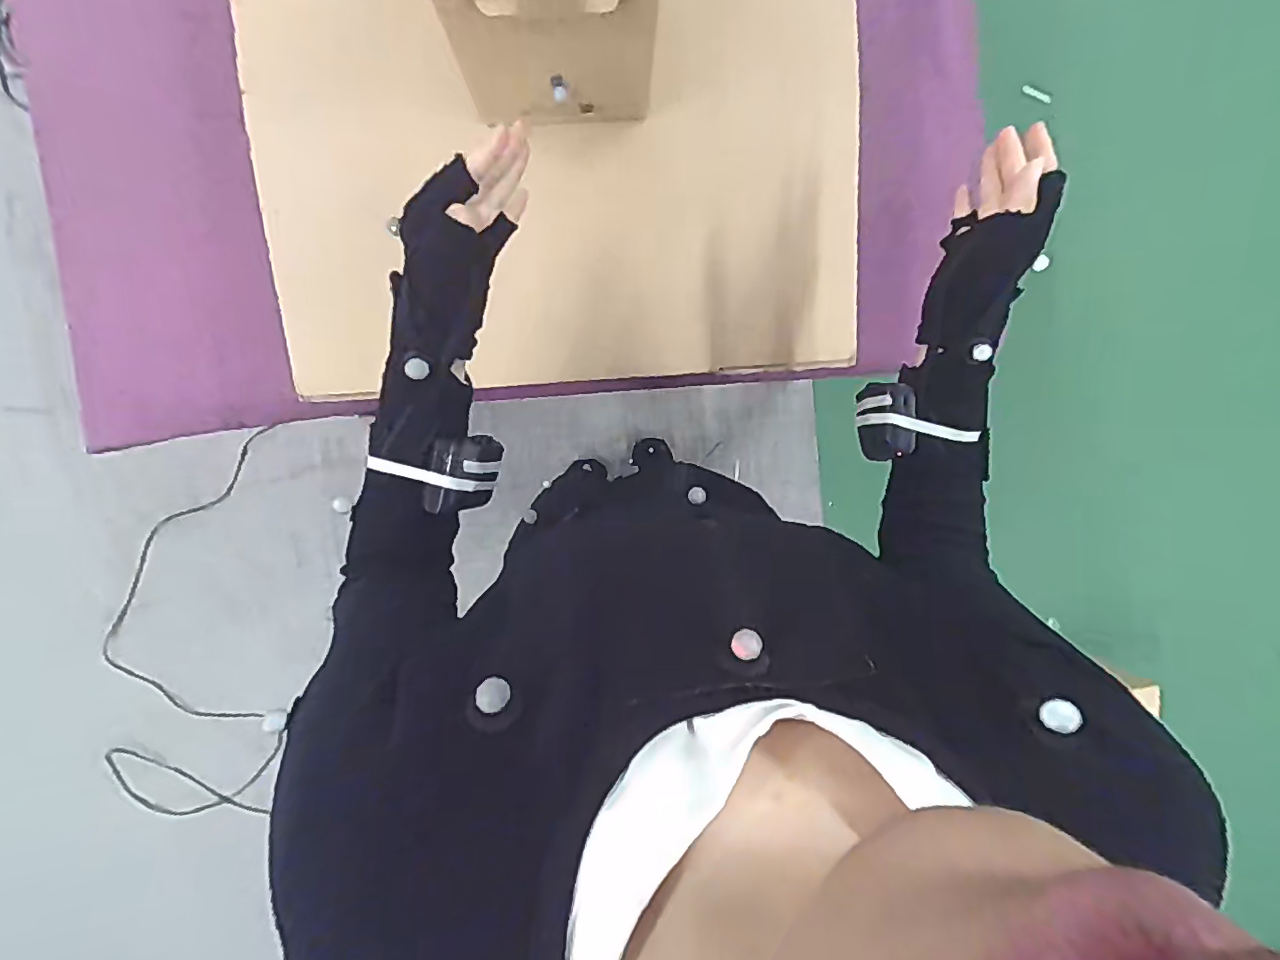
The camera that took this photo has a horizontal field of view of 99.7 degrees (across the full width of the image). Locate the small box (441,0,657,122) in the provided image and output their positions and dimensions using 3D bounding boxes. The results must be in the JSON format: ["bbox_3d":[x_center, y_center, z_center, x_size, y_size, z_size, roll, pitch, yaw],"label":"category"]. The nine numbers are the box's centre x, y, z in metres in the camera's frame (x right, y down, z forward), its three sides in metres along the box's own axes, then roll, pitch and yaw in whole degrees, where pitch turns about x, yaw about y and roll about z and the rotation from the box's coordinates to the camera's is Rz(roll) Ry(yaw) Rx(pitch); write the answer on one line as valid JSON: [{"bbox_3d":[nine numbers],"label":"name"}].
[{"bbox_3d":[-0.077,-0.439,0.451,0.168,0.176,0.179,-4,94,-2],"label":"small box"}]

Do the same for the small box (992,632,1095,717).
[{"bbox_3d":[1.120,0.538,1.514,0.179,0.176,0.168,-5,96,-3],"label":"small box"}]
